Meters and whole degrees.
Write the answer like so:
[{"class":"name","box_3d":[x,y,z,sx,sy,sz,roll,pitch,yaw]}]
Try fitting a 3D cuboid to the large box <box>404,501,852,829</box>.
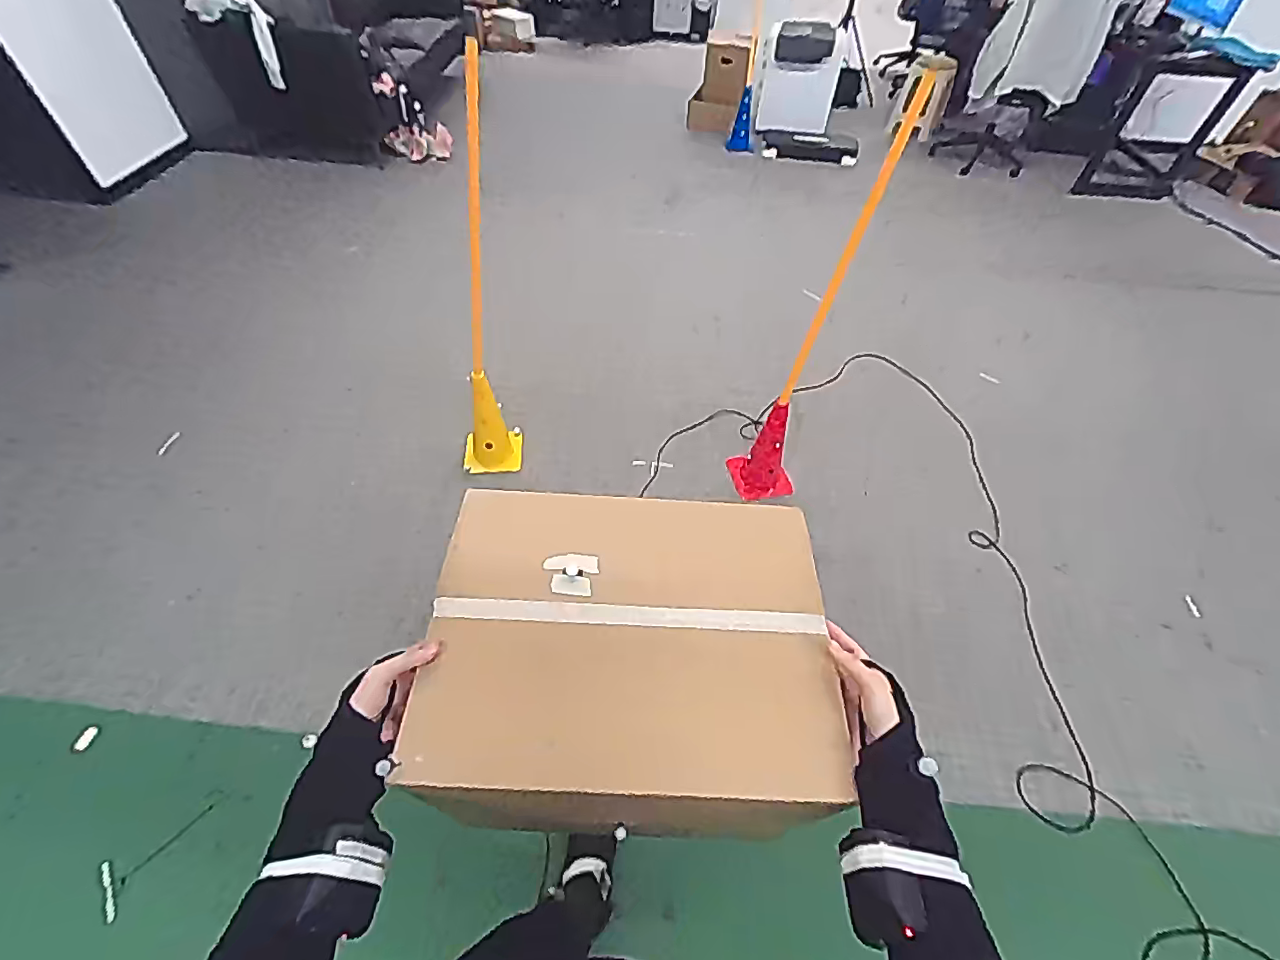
[{"class":"large box","box_3d":[-0.011,0.243,0.682,0.408,0.320,0.320,2,50,-1]}]
